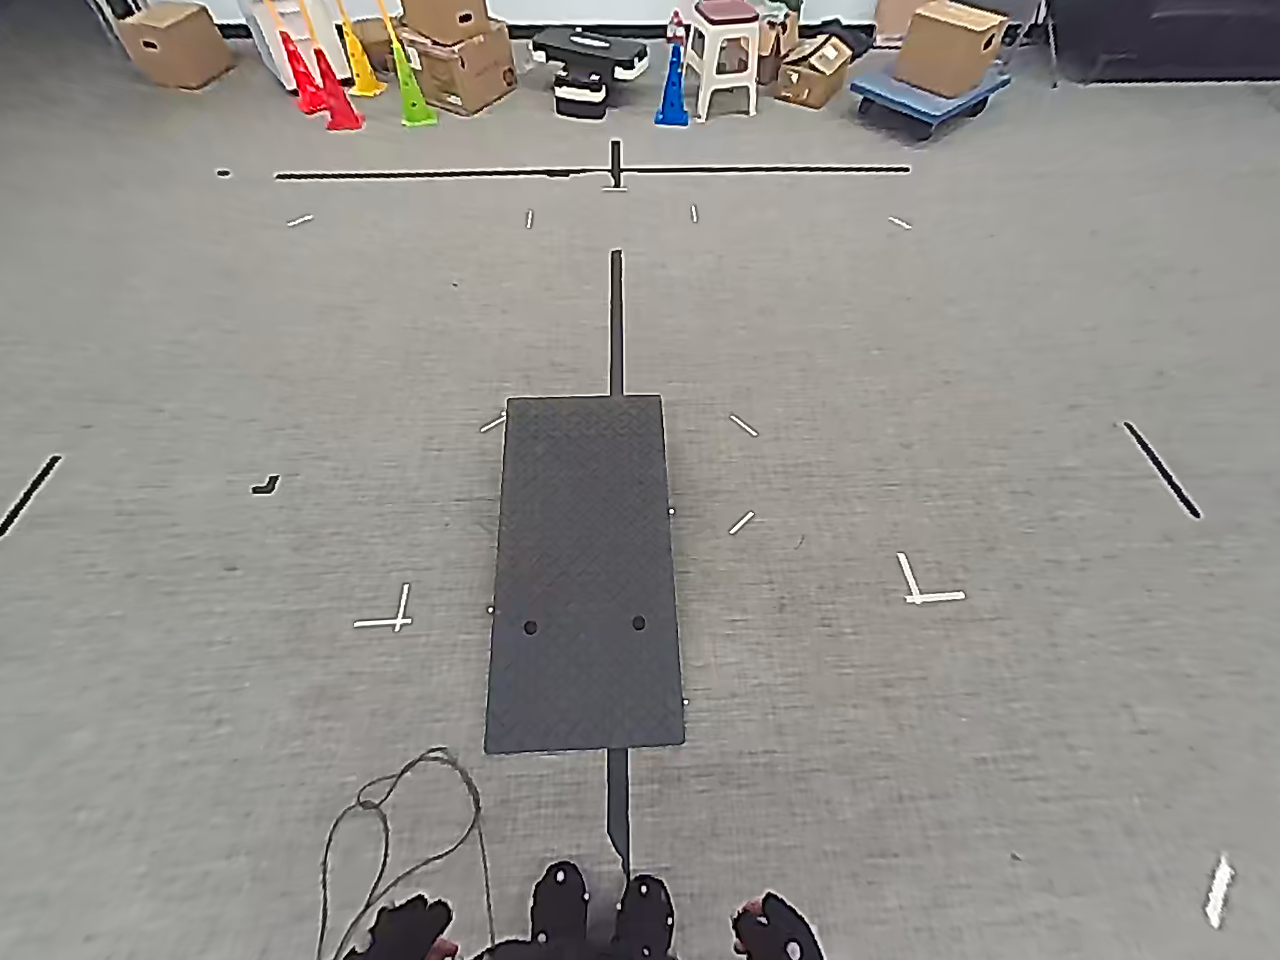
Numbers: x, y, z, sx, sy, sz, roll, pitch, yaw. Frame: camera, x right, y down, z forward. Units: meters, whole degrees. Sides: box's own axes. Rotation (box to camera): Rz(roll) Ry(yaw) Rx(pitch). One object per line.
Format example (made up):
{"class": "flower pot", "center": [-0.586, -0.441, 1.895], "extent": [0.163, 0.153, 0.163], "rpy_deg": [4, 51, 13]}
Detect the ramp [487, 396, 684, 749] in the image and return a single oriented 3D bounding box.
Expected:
{"class": "ramp", "center": [-0.150, 0.193, 1.525], "extent": [0.509, 0.206, 0.991], "rpy_deg": [-2, 56, -4]}
